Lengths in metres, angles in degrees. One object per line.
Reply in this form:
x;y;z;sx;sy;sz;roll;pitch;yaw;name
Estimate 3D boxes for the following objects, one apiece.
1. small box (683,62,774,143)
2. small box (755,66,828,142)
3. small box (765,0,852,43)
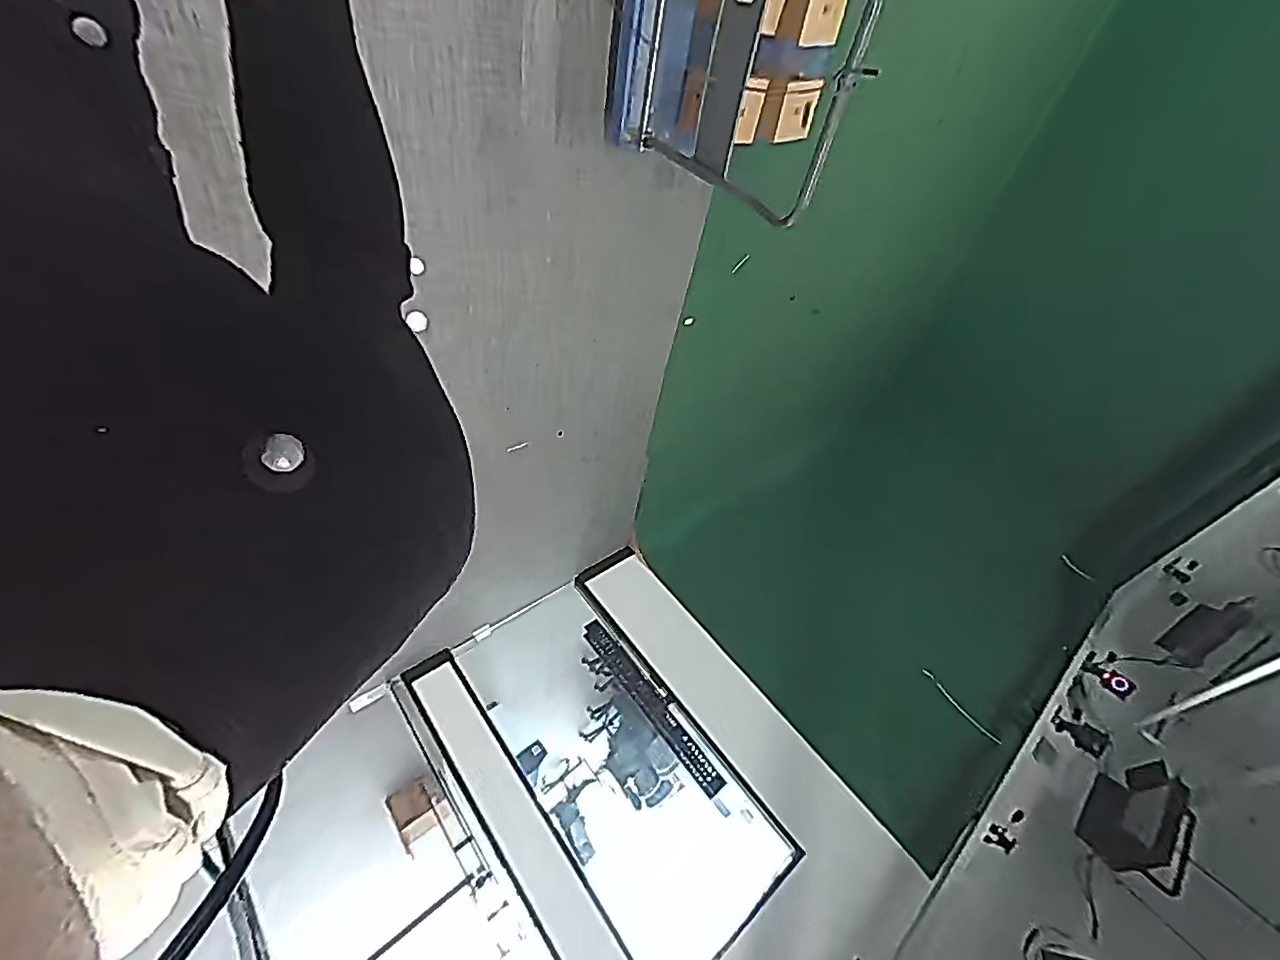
0.260;-1.130;1.620;0.179;0.176;0.168;-24;146;-32;small box
0.469;-1.228;1.760;0.179;0.176;0.168;-27;146;-28;small box
0.494;-1.394;1.572;0.179;0.176;0.168;-28;148;-28;small box
